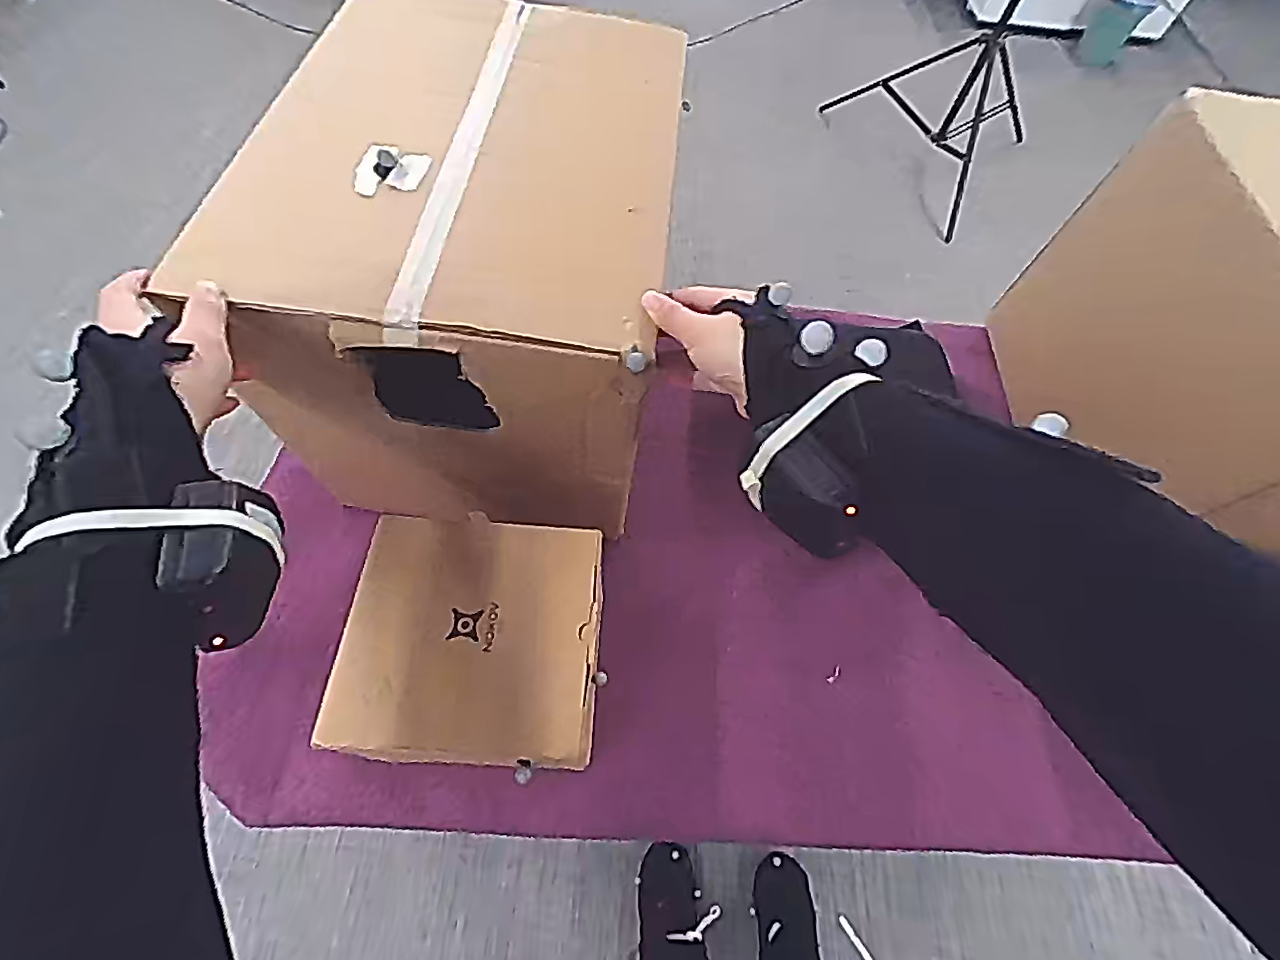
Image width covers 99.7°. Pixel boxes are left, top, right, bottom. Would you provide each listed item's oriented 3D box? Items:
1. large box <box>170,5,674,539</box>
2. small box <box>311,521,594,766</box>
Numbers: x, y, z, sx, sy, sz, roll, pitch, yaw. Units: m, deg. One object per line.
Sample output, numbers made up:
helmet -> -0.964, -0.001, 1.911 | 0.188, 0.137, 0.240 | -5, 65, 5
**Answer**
large box -> -0.147, -0.189, 0.564 | 0.320, 0.320, 0.408 | 6, 64, -2
small box -> -0.133, 0.148, 0.466 | 0.179, 0.176, 0.168 | 4, 60, -3
